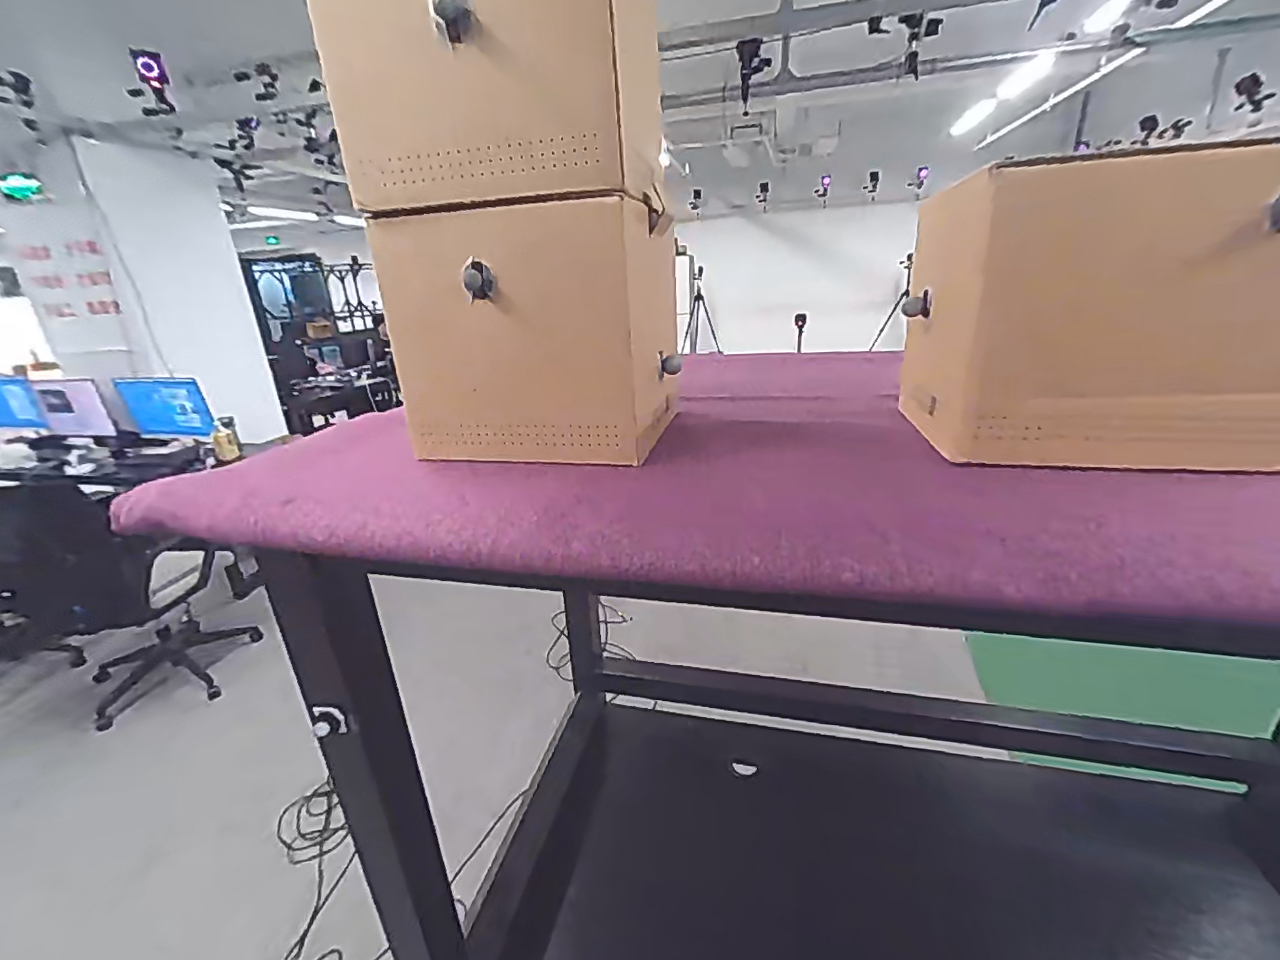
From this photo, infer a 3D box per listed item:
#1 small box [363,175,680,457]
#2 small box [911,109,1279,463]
[{"bbox_3d":[-0.069,-0.121,0.418,0.179,0.176,0.168,2,23,14],"label":"small box"},{"bbox_3d":[0.287,-0.112,0.350,0.179,0.176,0.168,3,20,14],"label":"small box"}]
